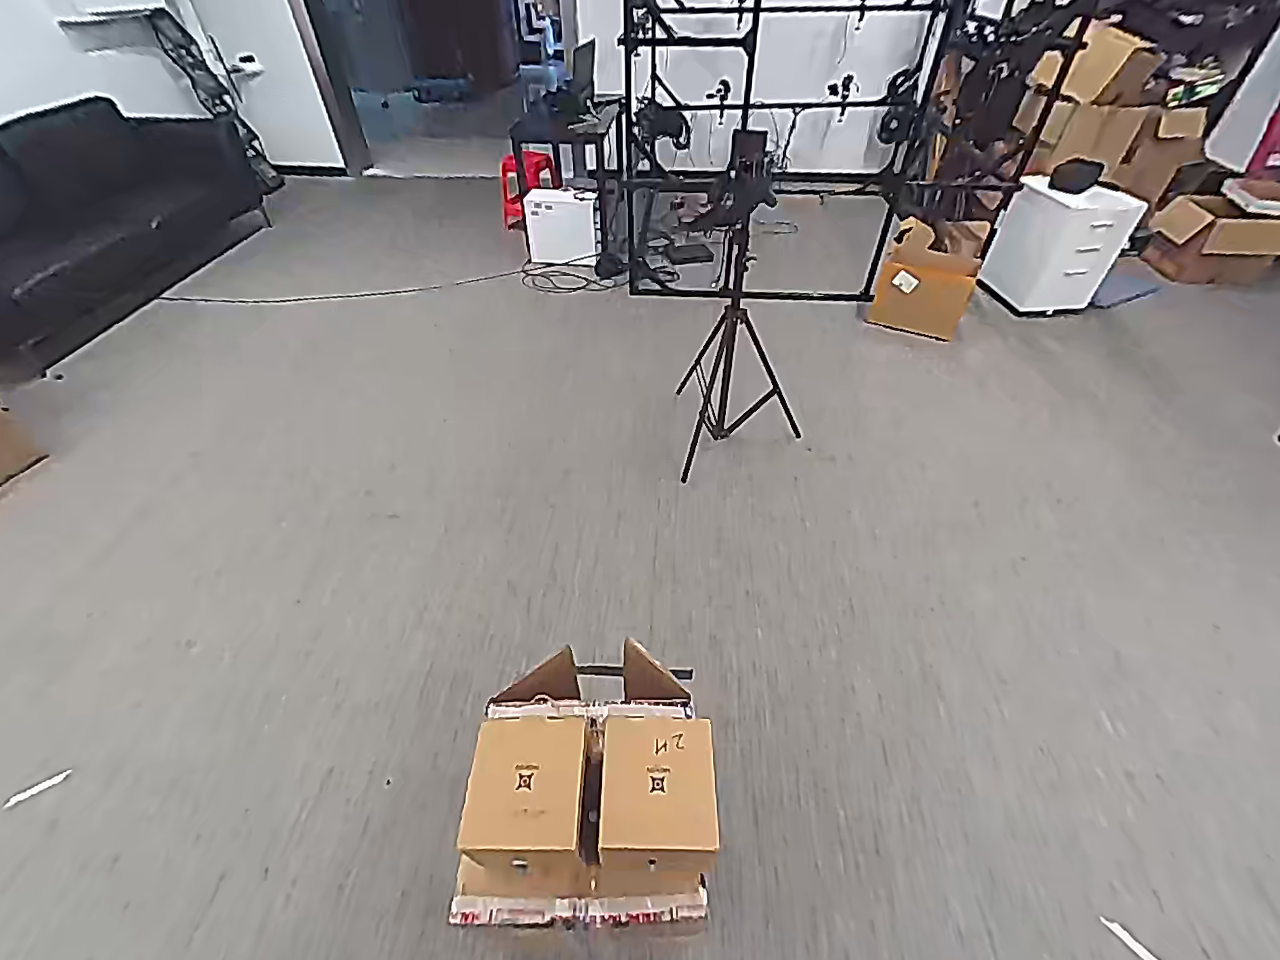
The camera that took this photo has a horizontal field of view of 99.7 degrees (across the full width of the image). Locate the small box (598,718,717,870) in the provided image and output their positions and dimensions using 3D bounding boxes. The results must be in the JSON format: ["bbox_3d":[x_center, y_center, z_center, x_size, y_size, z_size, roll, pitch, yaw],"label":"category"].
[{"bbox_3d":[0.025,0.492,0.844,0.168,0.176,0.179,1,46,0],"label":"small box"}]

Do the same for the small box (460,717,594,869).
[{"bbox_3d":[-0.162,0.491,0.847,0.168,0.176,0.179,-2,48,1],"label":"small box"}]
